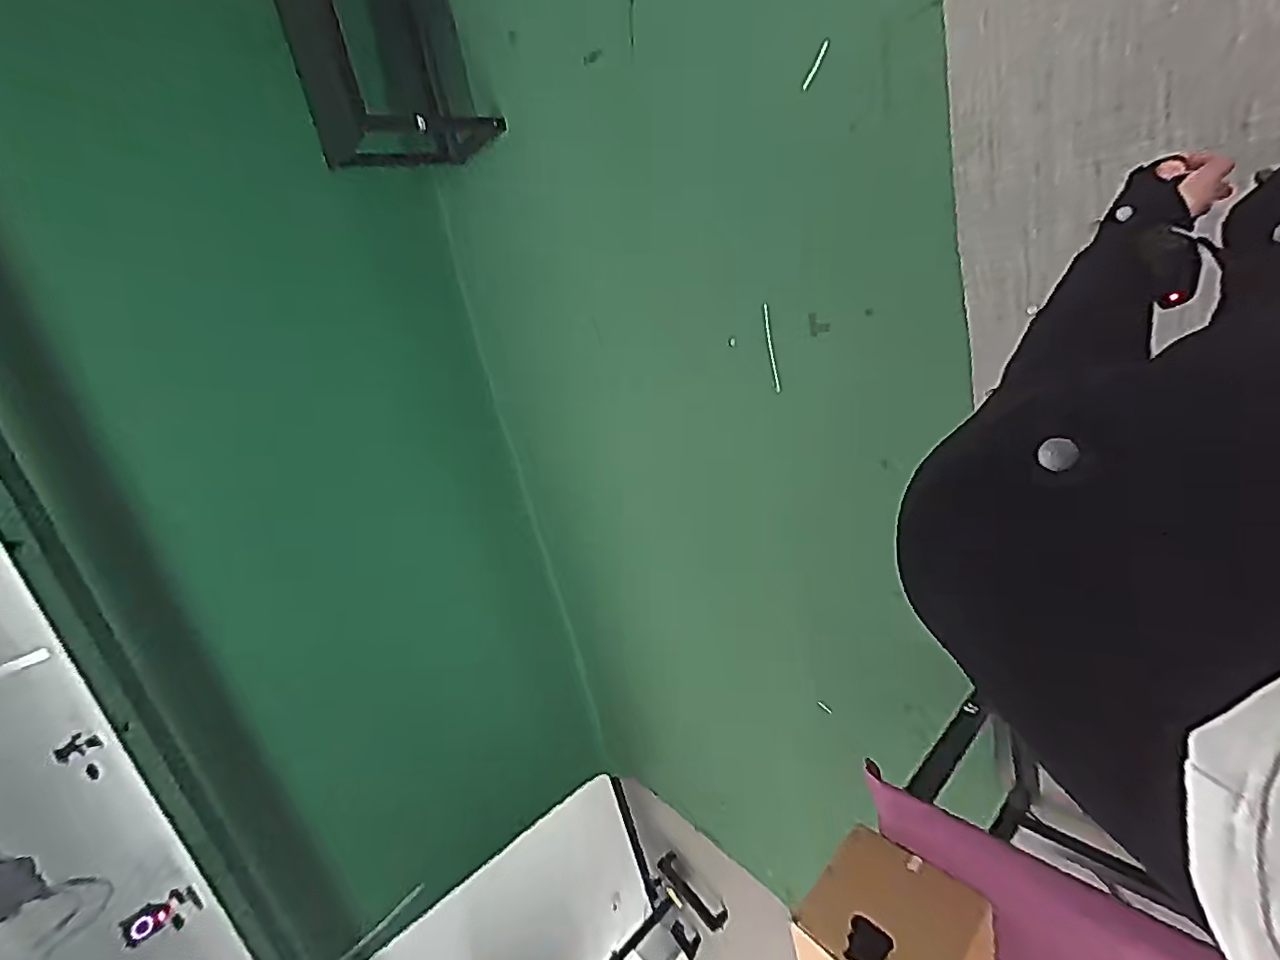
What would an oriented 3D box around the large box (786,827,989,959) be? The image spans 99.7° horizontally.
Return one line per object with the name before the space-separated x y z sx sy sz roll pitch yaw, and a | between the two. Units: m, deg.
large box | 0.580 1.134 1.242 0.320 0.320 0.408 6 114 50
